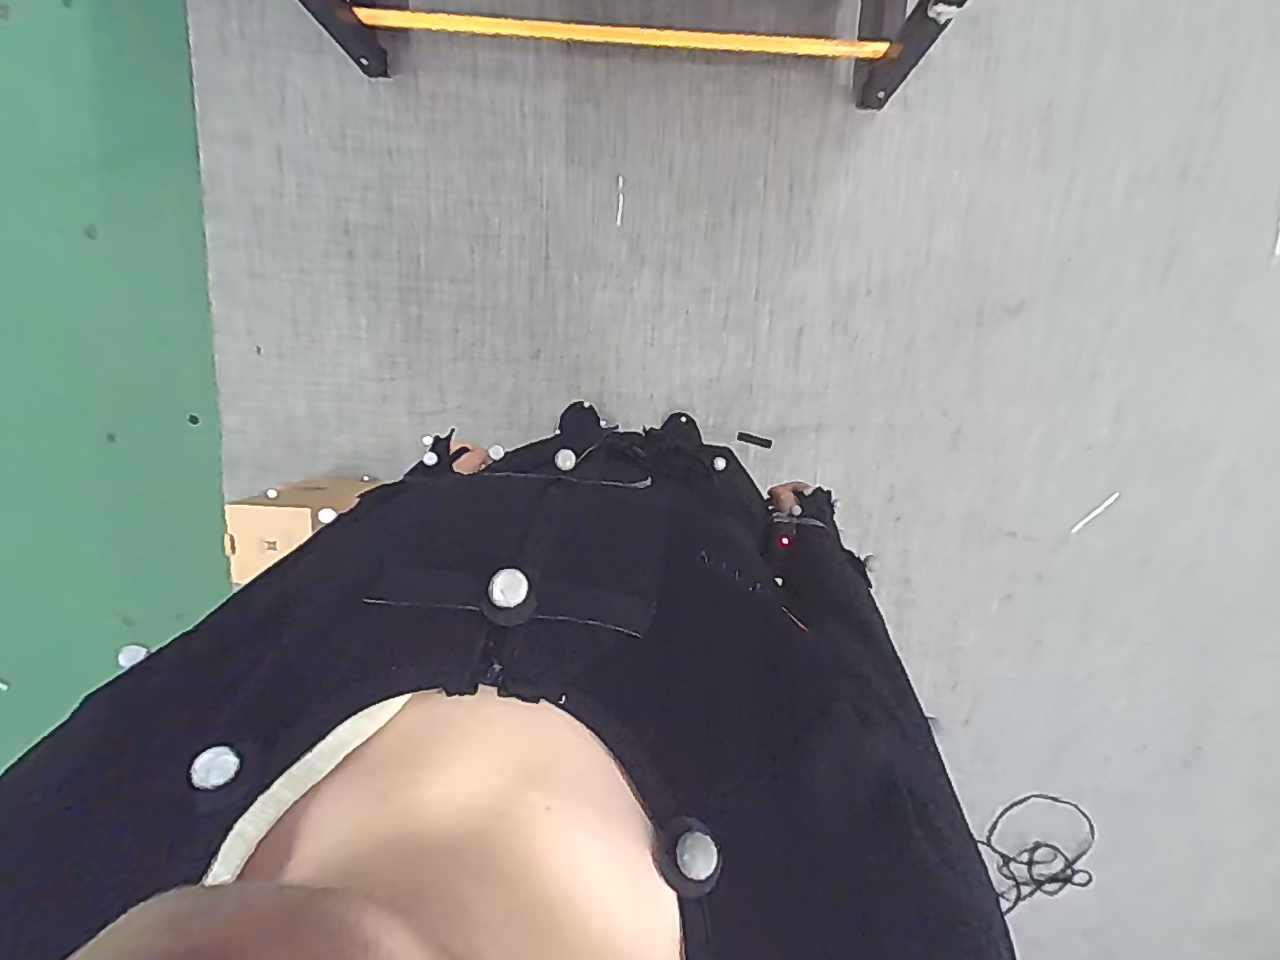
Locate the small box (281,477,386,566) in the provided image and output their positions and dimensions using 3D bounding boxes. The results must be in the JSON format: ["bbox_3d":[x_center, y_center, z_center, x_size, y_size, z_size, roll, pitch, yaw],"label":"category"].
[{"bbox_3d":[-0.737,0.093,1.313,0.168,0.176,0.179,5,100,1],"label":"small box"}]

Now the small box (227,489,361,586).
[{"bbox_3d":[-0.726,0.115,1.152,0.179,0.176,0.168,2,100,0],"label":"small box"}]
